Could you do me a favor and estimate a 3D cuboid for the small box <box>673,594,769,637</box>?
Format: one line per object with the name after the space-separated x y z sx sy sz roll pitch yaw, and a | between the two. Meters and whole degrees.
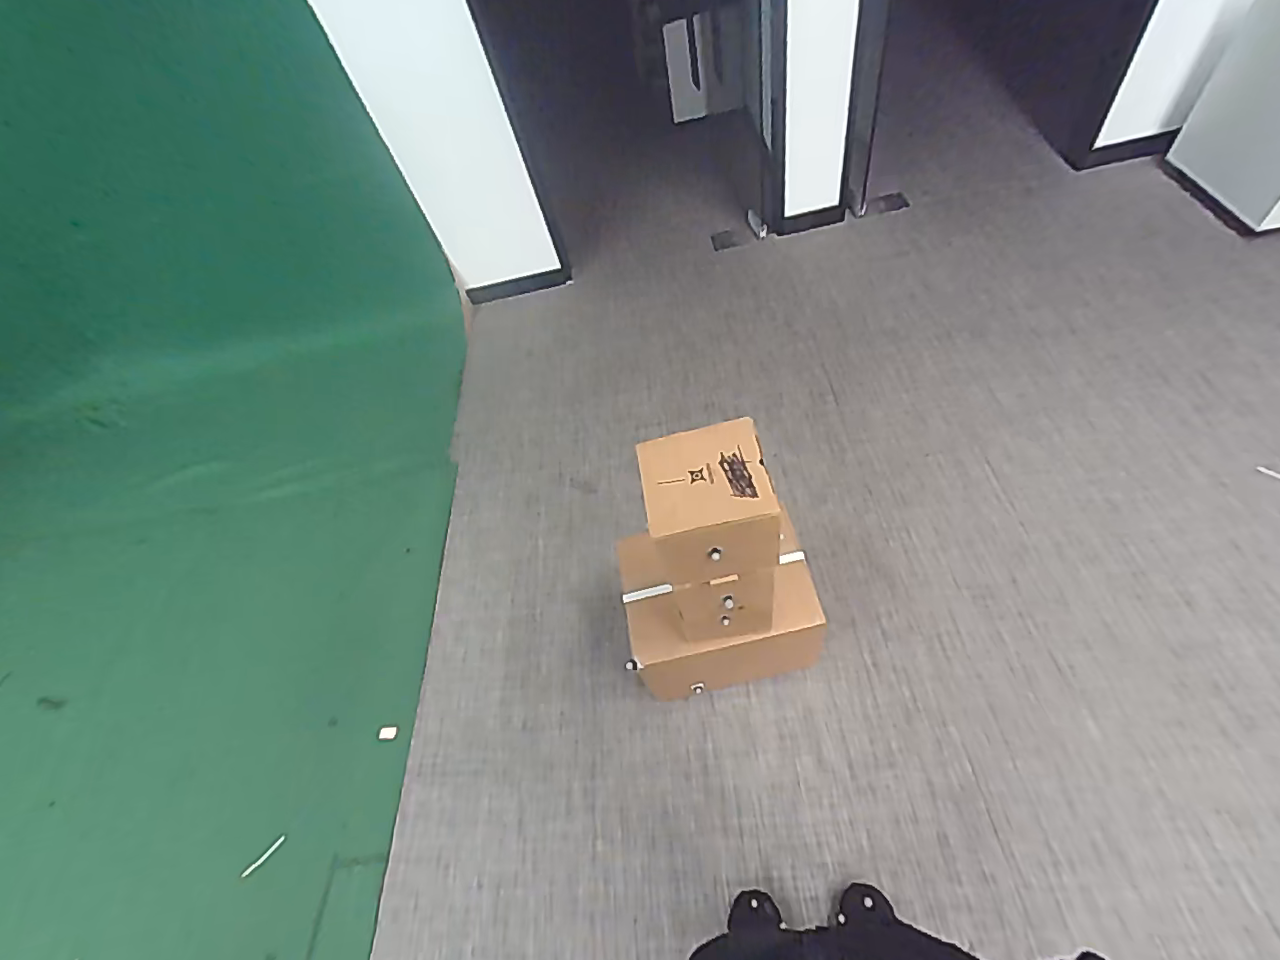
0.157 0.205 1.092 0.179 0.176 0.168 -11 57 5 | small box

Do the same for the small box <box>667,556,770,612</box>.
0.129 0.121 0.955 0.168 0.176 0.179 -13 57 5 | small box

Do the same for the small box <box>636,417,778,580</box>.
0.102 0.034 0.817 0.179 0.176 0.168 -12 55 6 | small box
